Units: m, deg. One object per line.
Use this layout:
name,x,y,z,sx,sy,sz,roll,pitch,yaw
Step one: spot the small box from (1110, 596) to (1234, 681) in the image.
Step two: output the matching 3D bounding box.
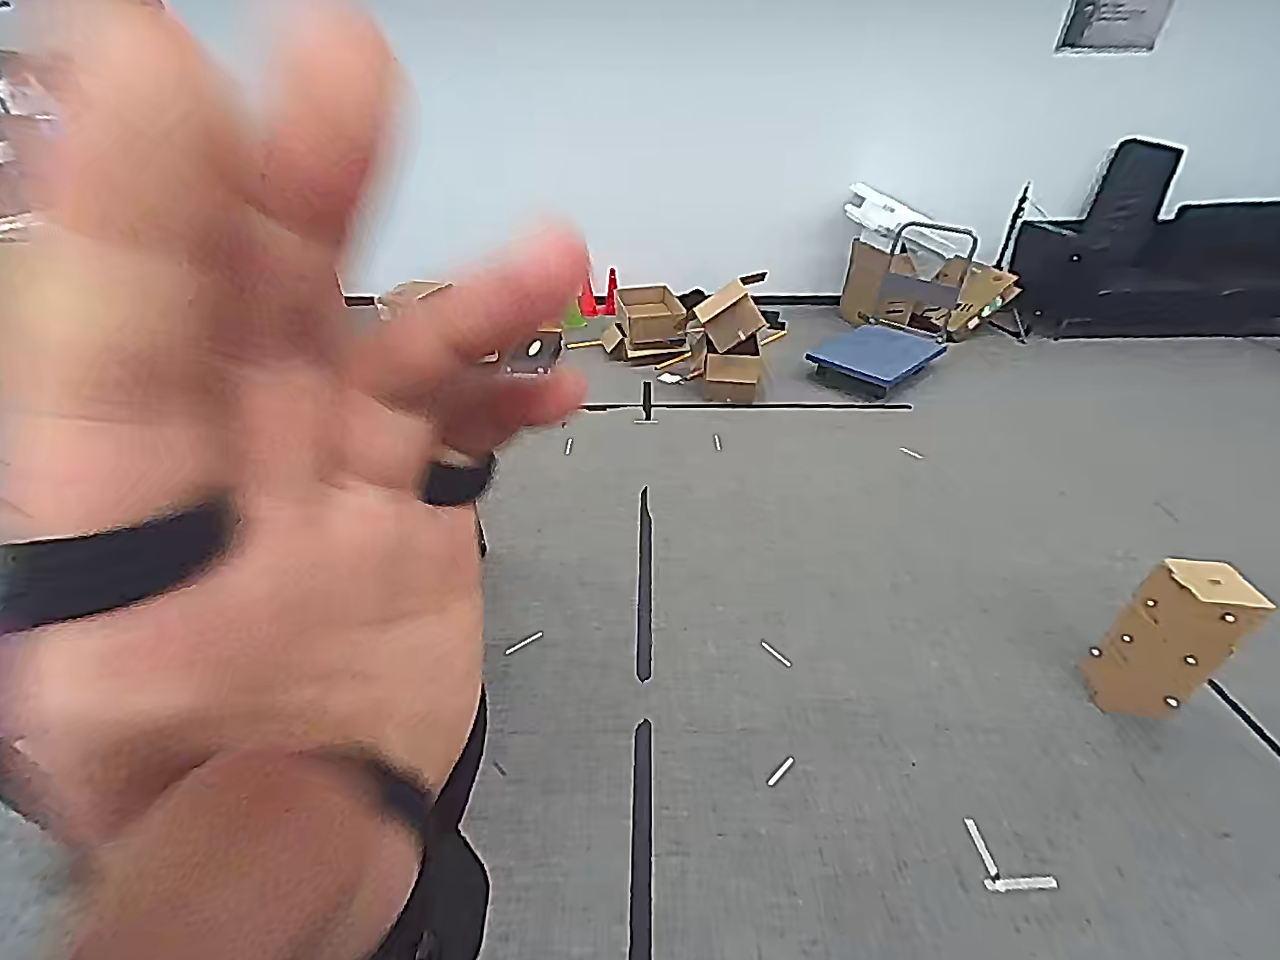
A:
small box,1.523,0.461,1.570,0.179,0.176,0.168,4,36,5

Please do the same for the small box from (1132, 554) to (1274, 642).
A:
small box,1.526,0.326,1.481,0.179,0.176,0.168,4,35,5
